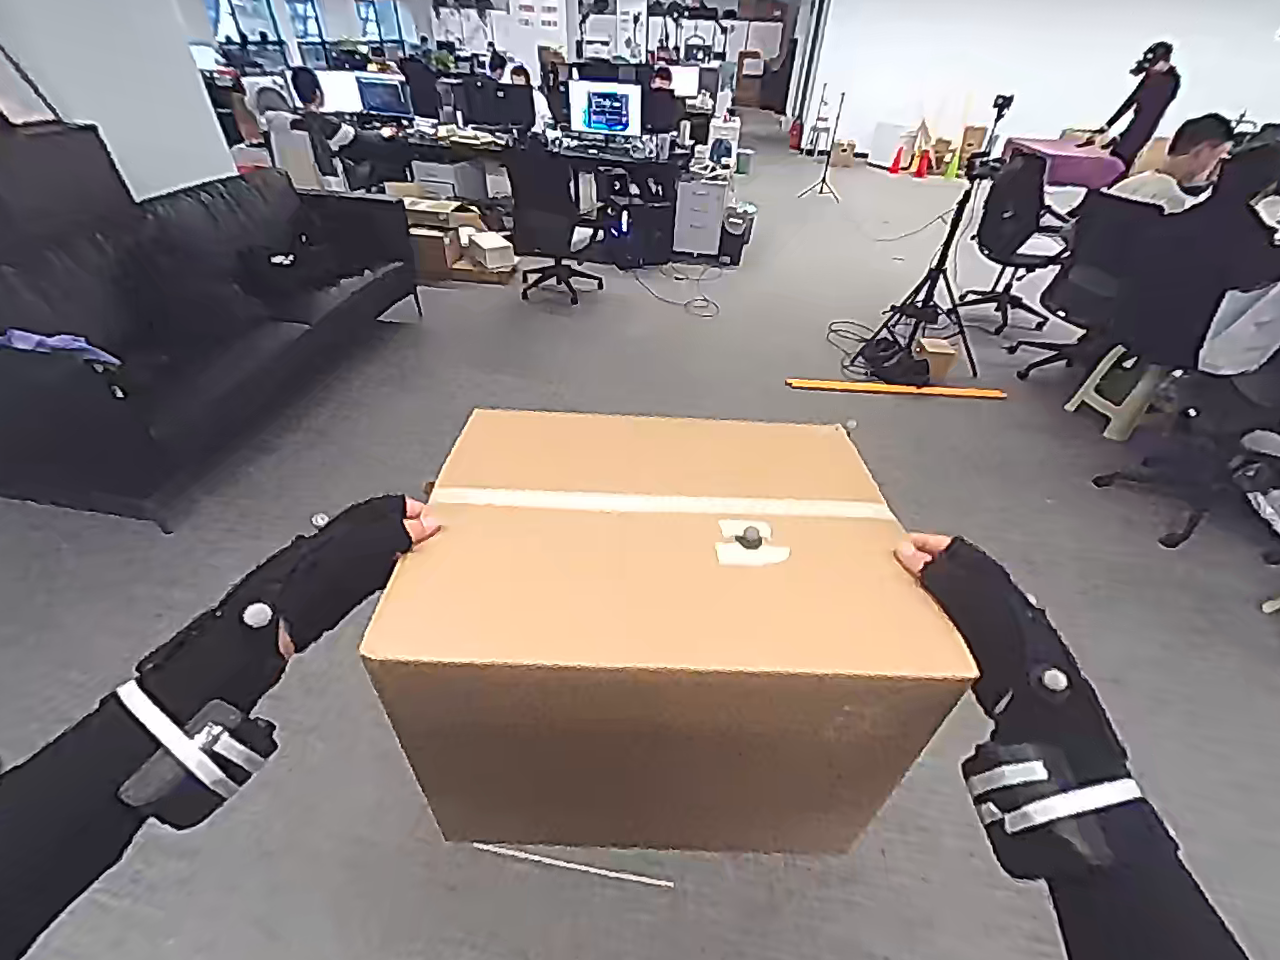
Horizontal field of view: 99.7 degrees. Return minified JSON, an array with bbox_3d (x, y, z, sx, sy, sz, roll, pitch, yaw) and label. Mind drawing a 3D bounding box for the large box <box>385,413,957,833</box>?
[{"bbox_3d":[0.014,0.144,0.573,0.408,0.320,0.320,3,38,-2],"label":"large box"}]
